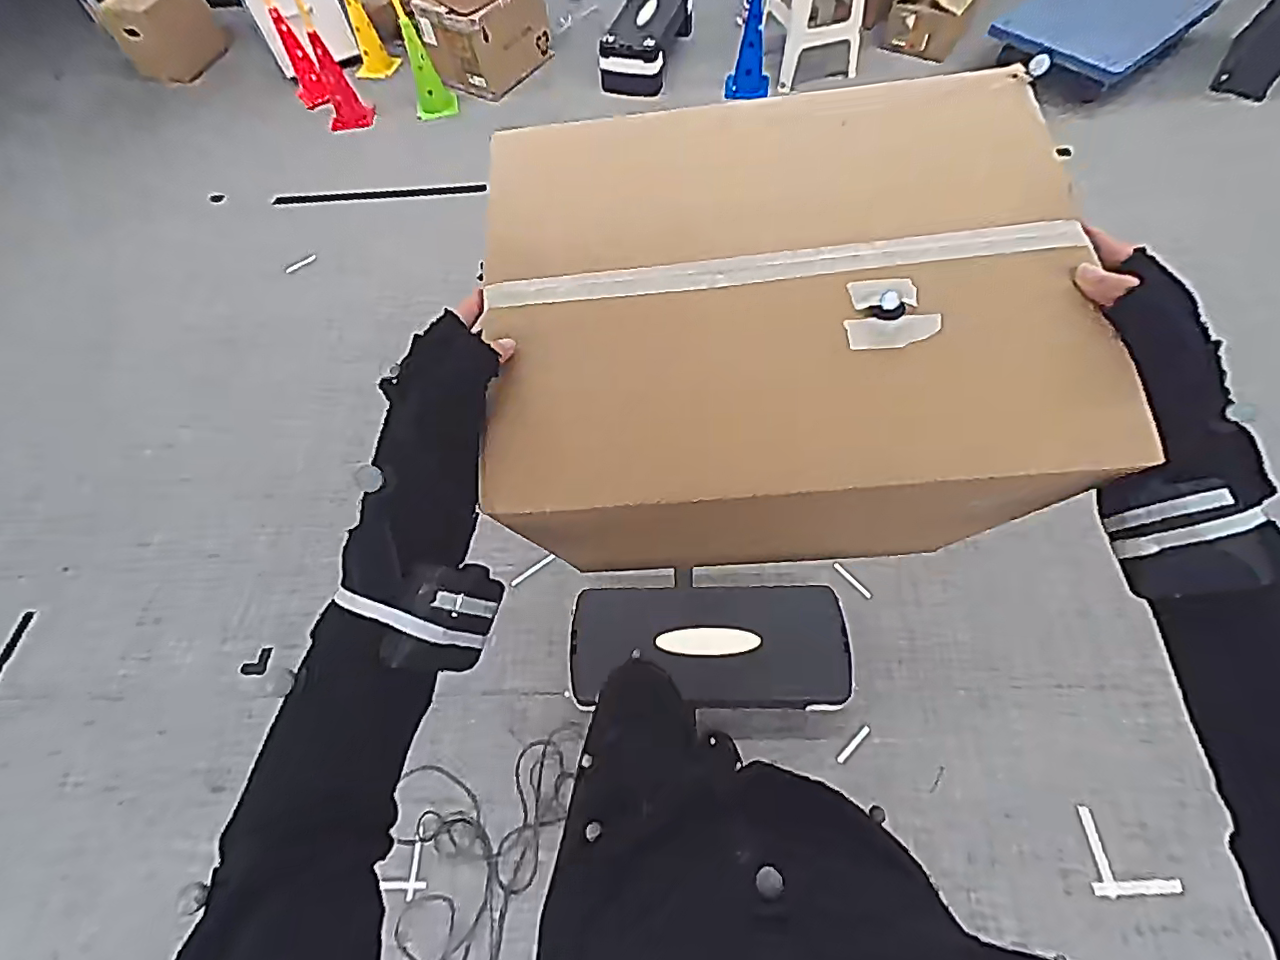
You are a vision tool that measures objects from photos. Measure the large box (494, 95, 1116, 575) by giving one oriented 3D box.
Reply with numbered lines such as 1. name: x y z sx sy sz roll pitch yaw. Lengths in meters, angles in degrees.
1. large box: 0.100 -0.095 0.532 0.408 0.320 0.320 -5 73 4
